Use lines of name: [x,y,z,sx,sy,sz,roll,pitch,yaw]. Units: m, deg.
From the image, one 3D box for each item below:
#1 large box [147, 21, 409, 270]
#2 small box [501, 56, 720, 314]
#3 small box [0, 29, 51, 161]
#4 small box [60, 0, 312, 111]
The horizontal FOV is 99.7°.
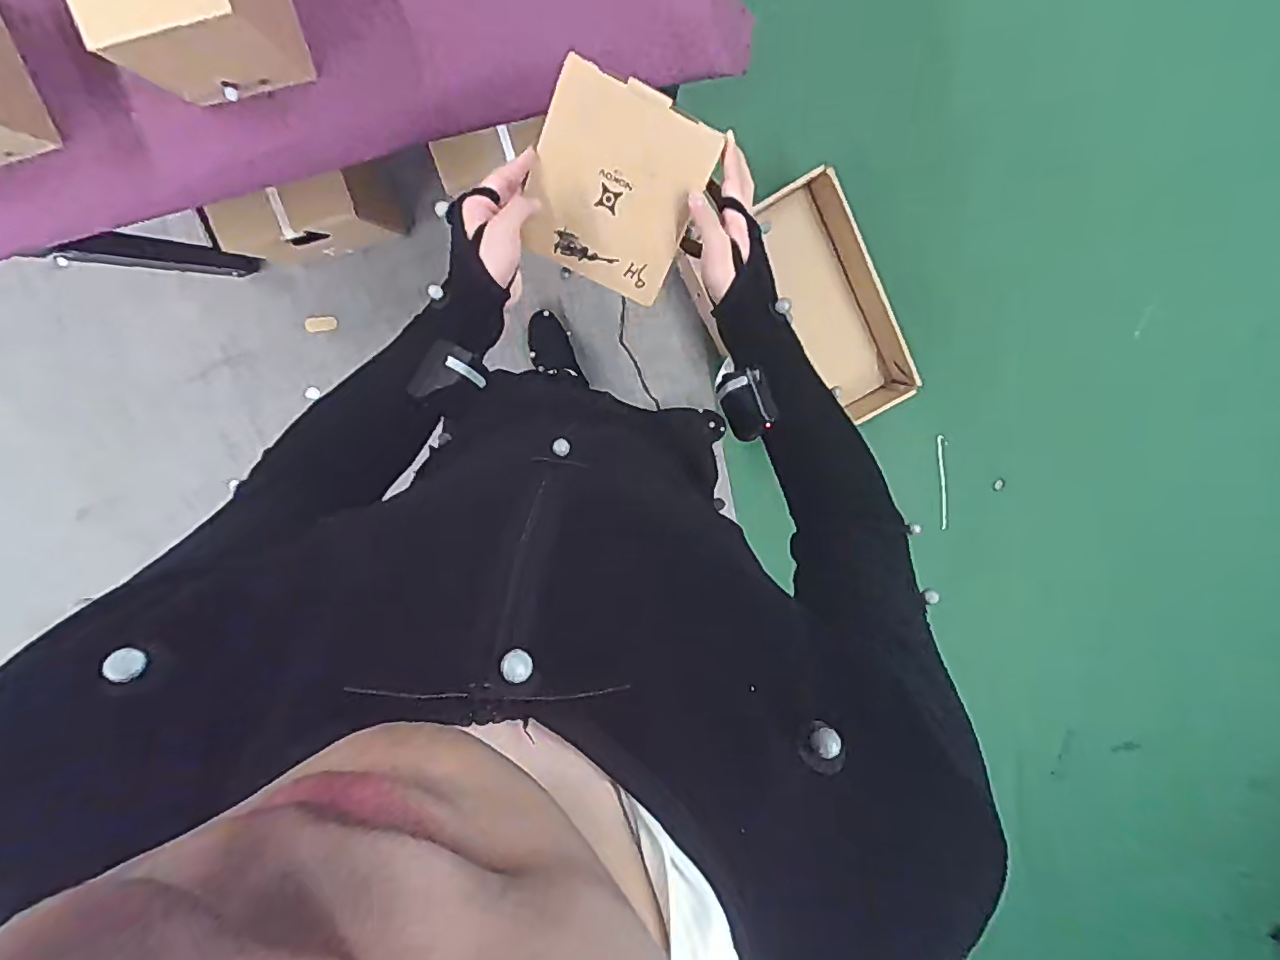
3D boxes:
large box: [-0.801,-0.744,1.250,0.320,0.320,0.408,-14,105,1]
small box: [-0.030,-0.311,0.600,0.168,0.176,0.179,25,113,-7]
small box: [-0.877,-0.483,0.632,0.168,0.176,0.179,-14,105,2]
small box: [-0.524,-0.566,0.621,0.168,0.176,0.179,-11,106,2]
